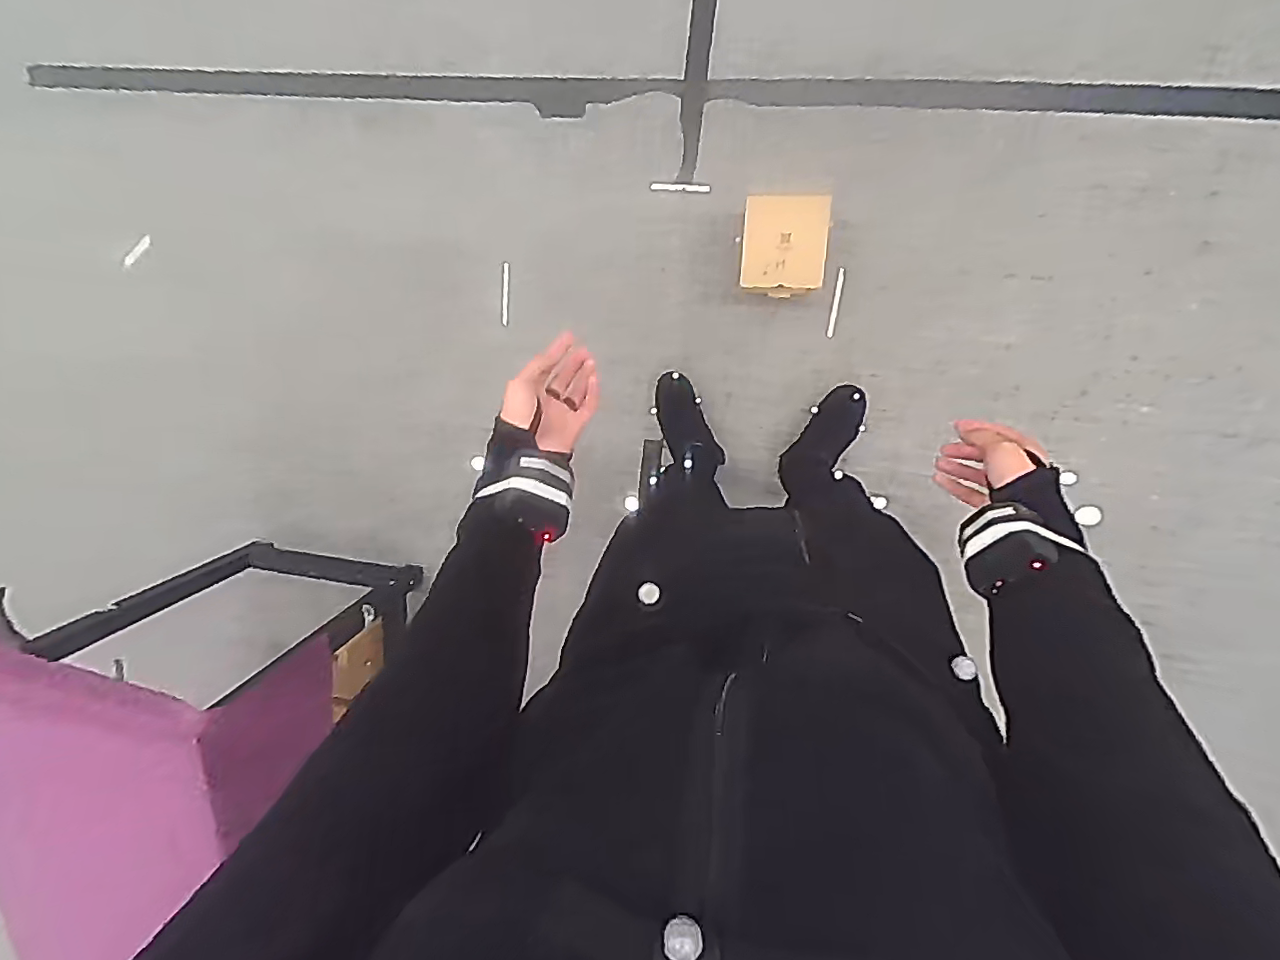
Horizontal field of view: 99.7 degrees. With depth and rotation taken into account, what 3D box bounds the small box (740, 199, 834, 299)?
[{"bbox_3d":[0.305,-0.487,1.156,0.168,0.176,0.179,5,107,9],"label":"small box"}]
